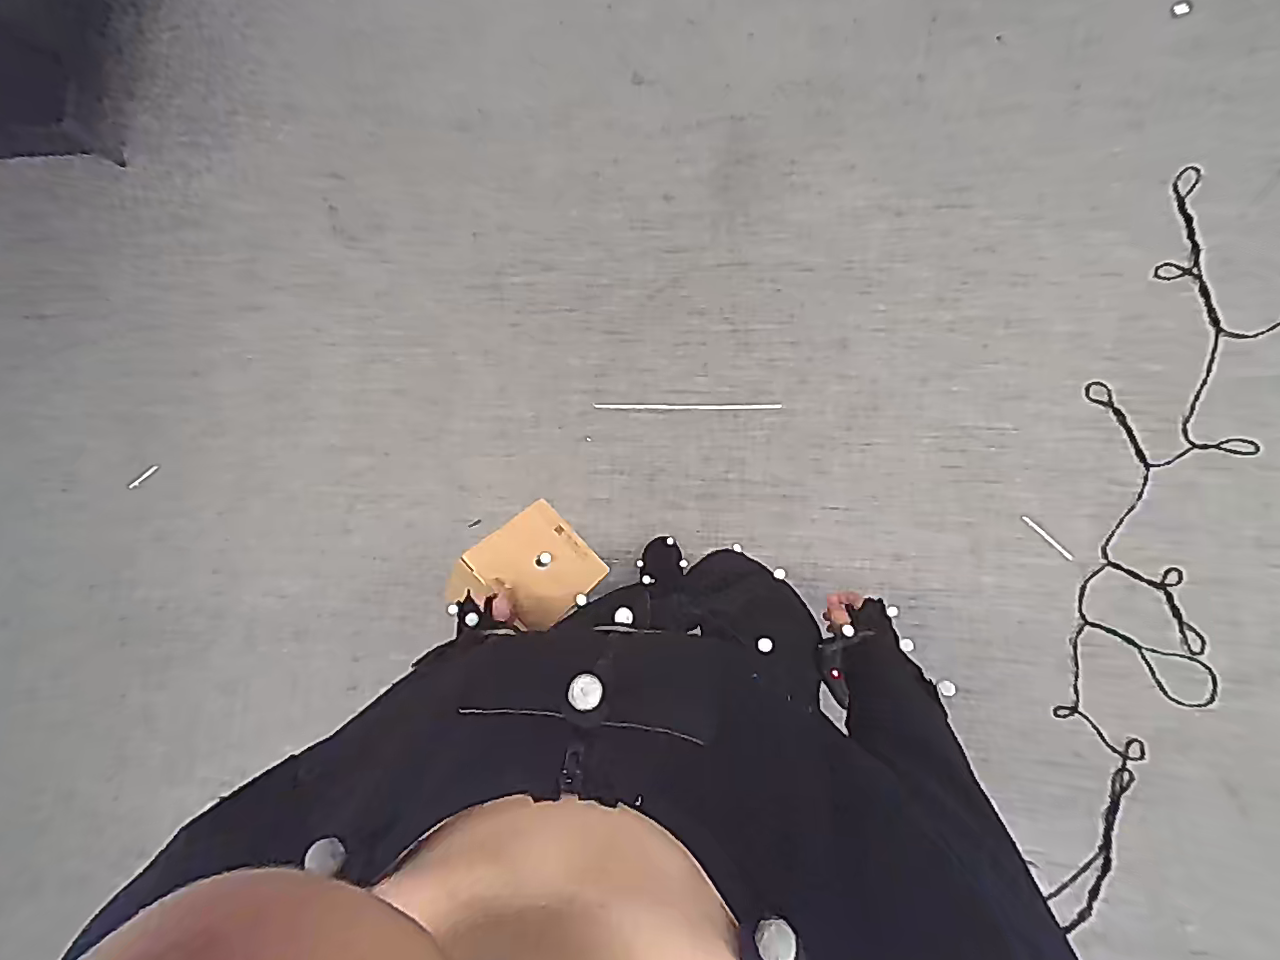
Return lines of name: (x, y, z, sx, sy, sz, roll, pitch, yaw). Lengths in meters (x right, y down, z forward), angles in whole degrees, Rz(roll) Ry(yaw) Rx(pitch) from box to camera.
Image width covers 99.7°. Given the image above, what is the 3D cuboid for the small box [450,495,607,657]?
small box: (-0.179, 0.154, 0.885, 0.168, 0.179, 0.176, 46, 51, 4)
